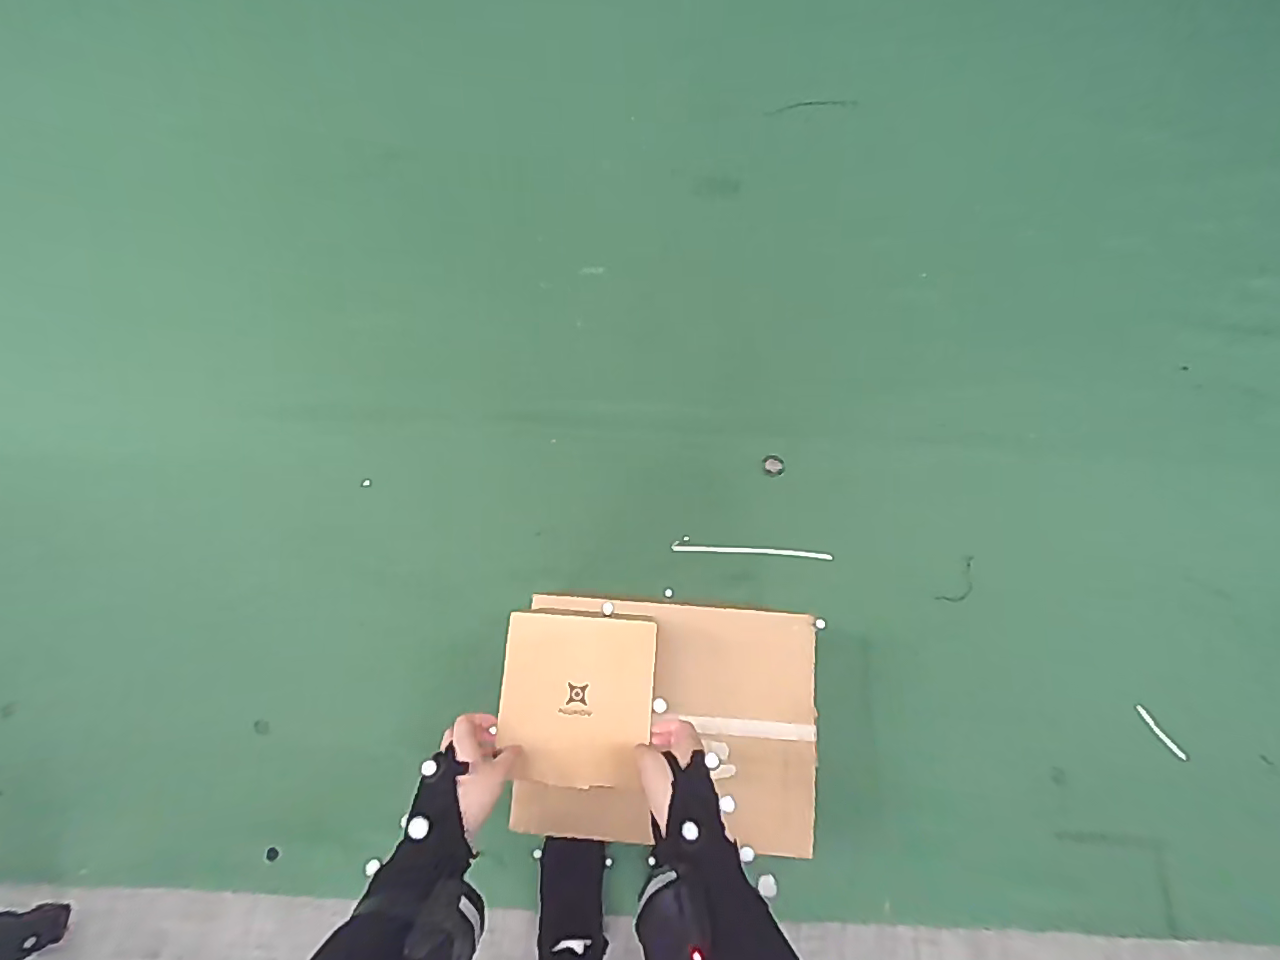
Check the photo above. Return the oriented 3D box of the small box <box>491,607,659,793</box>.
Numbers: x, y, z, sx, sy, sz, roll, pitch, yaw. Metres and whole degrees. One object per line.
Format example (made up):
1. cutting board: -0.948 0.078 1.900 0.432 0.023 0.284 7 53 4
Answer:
1. small box: -0.068 0.248 0.652 0.168 0.176 0.179 4 79 1

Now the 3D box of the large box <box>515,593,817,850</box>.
1. large box: 0.039 0.351 0.878 0.408 0.320 0.320 4 80 1
